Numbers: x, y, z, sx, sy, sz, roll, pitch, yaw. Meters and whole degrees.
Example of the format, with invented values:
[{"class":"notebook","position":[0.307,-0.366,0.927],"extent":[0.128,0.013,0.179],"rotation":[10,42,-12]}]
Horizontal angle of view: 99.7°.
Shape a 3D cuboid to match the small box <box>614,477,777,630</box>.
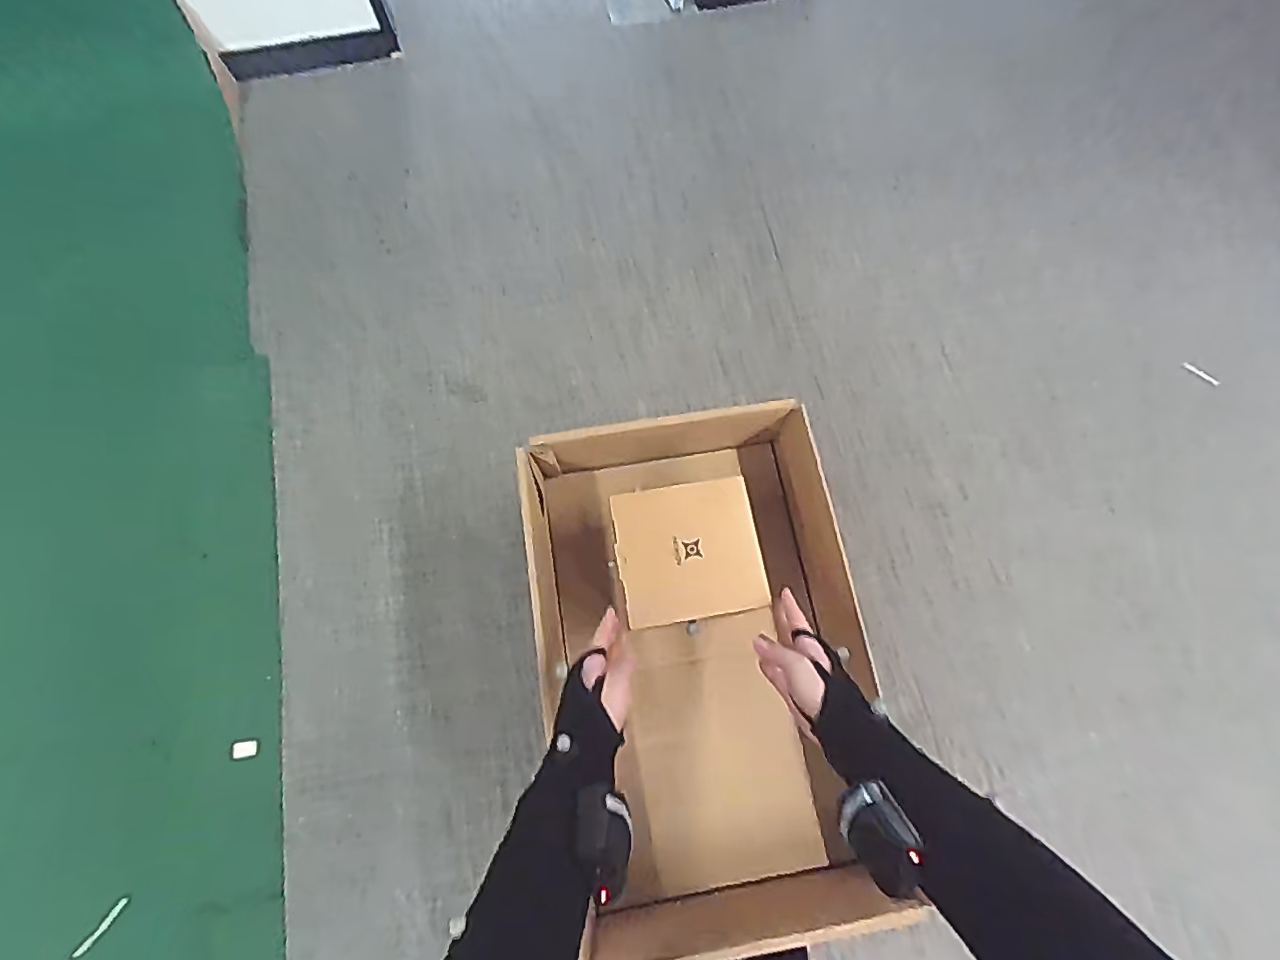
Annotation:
[{"class":"small box","position":[0.064,0.105,0.730],"extent":[0.179,0.176,0.168],"rotation":[-9,75,-3]}]
